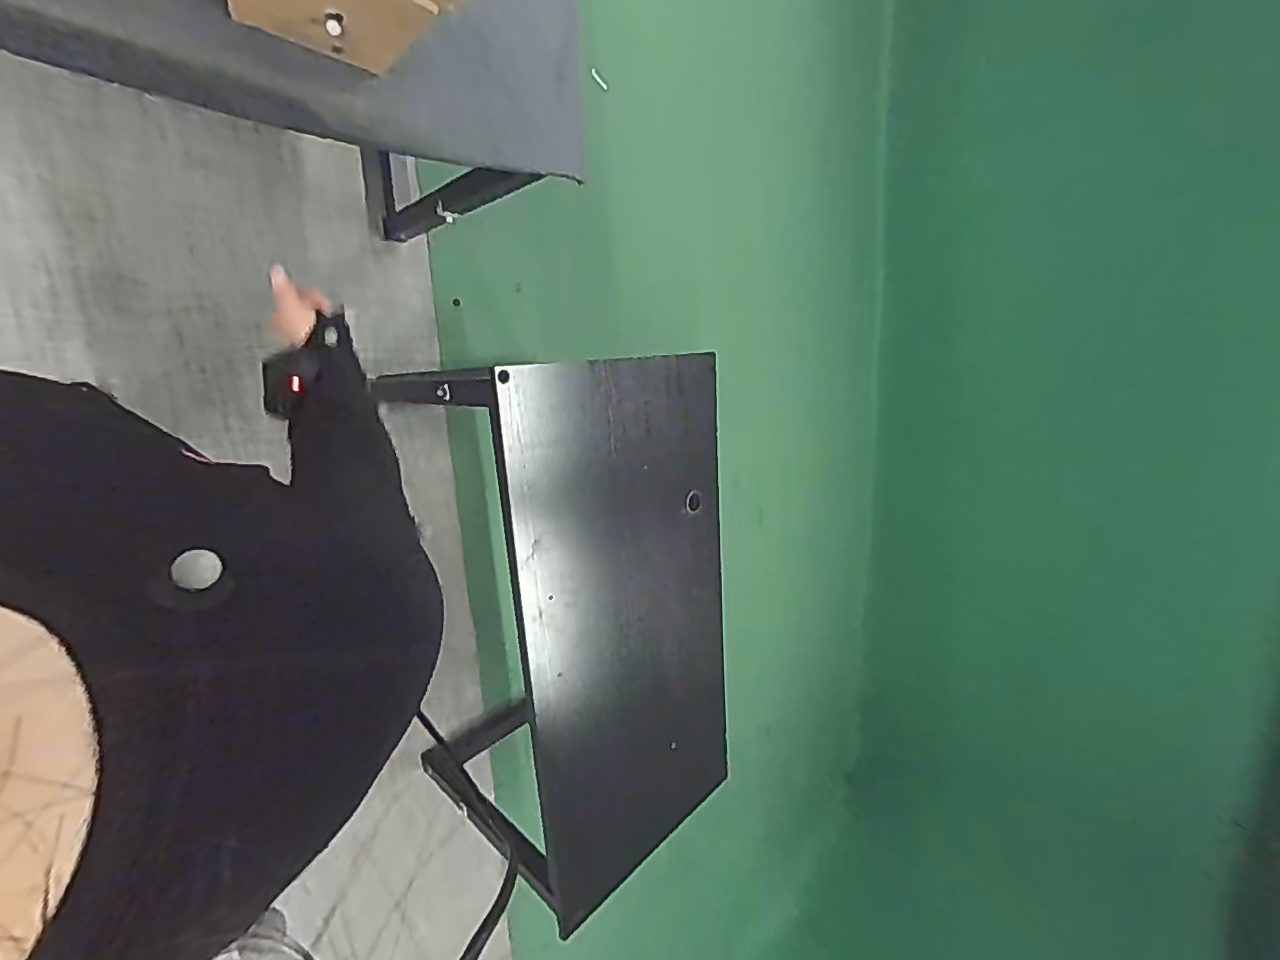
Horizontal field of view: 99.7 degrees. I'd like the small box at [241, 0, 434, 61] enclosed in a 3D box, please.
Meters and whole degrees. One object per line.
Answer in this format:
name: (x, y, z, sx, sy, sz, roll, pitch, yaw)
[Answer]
small box: (-0.337, -0.595, 0.572, 0.168, 0.176, 0.179, -11, 104, -45)
